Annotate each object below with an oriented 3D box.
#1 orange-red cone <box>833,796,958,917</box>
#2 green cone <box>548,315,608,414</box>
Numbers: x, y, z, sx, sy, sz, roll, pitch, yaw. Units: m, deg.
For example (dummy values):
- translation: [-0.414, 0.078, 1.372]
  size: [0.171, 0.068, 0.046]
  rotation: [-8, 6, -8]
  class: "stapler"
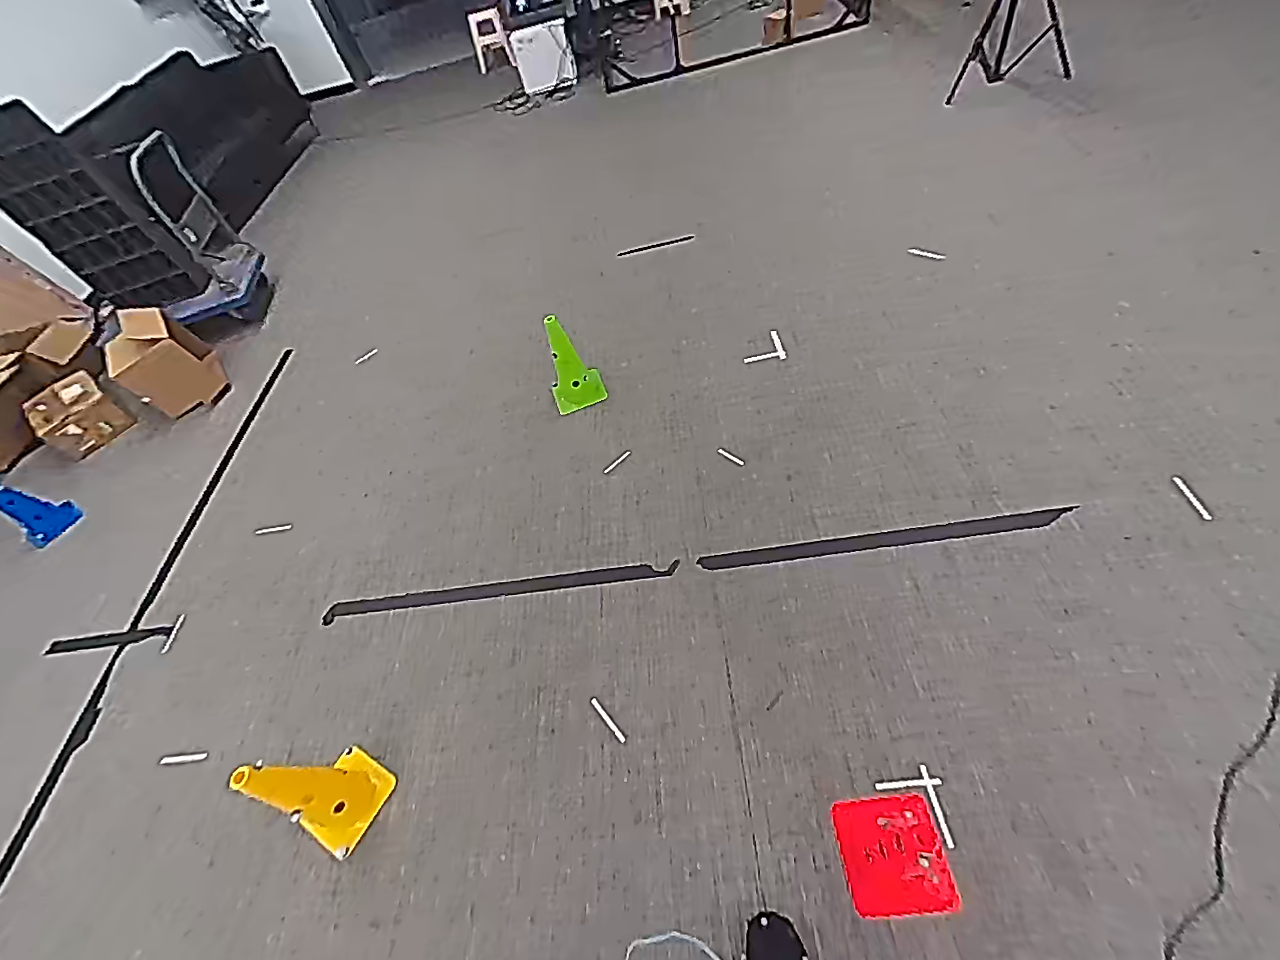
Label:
- translation: [0.473, 0.653, 0.966]
  size: [0.199, 0.360, 0.198]
  rotation: [-11, 50, 9]
  class: "orange-red cone"
- translation: [-0.276, -0.459, 2.047]
  size: [0.202, 0.368, 0.200]
  rotation: [-21, 51, -3]
  class: "green cone"
